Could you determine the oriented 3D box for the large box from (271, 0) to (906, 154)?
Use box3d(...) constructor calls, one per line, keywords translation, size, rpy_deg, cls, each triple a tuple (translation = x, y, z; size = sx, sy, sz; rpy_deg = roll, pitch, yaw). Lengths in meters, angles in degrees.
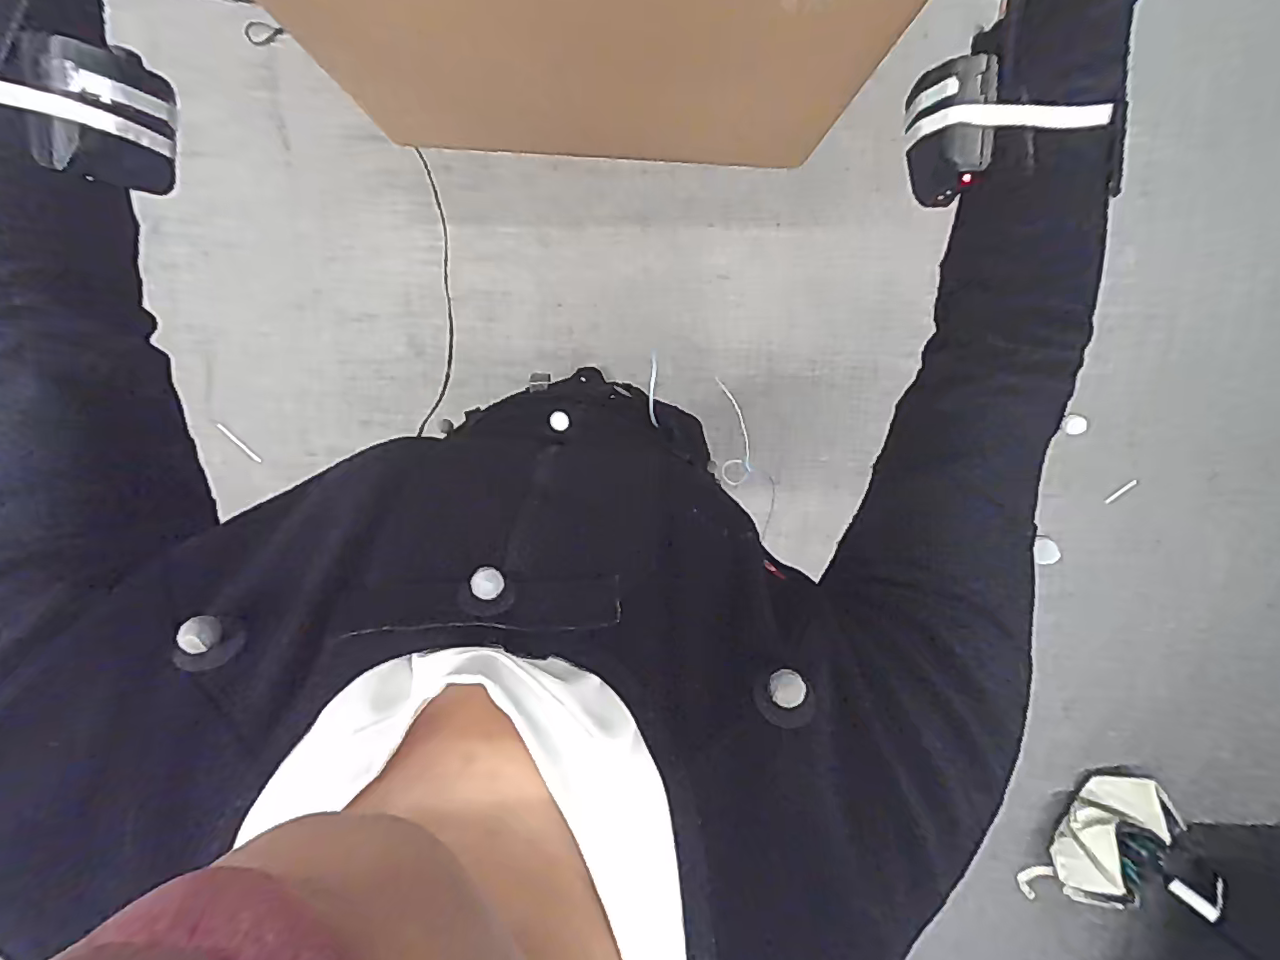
box3d(translation=(-0.034, -0.449, 0.361), size=(0.408, 0.320, 0.320), rpy_deg=(2, 101, -2), cls="large box")
